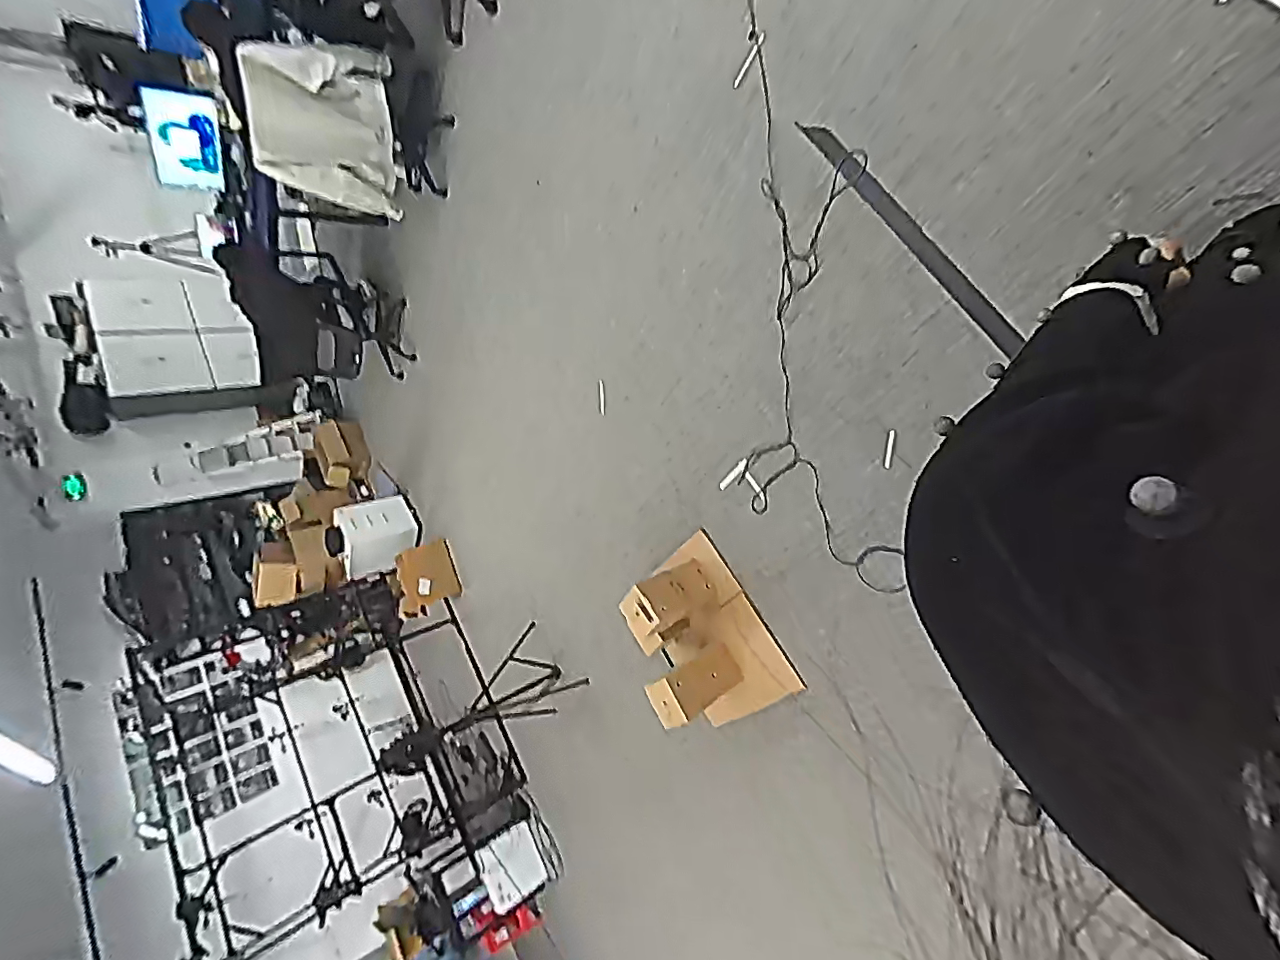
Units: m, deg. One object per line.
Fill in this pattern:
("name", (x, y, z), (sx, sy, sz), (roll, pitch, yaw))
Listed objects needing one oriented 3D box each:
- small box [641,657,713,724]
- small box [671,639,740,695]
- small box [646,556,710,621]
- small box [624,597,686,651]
("small box", (0.143, 0.800, 2.071), (0.179, 0.176, 0.168), (60, 139, 14))
("small box", (0.264, 0.761, 2.176), (0.179, 0.176, 0.168), (59, 138, 15))
("small box", (0.160, 0.433, 2.185), (0.168, 0.176, 0.179), (55, 137, 21))
("small box", (0.068, 0.609, 2.354), (0.179, 0.176, 0.168), (54, 138, 21))
